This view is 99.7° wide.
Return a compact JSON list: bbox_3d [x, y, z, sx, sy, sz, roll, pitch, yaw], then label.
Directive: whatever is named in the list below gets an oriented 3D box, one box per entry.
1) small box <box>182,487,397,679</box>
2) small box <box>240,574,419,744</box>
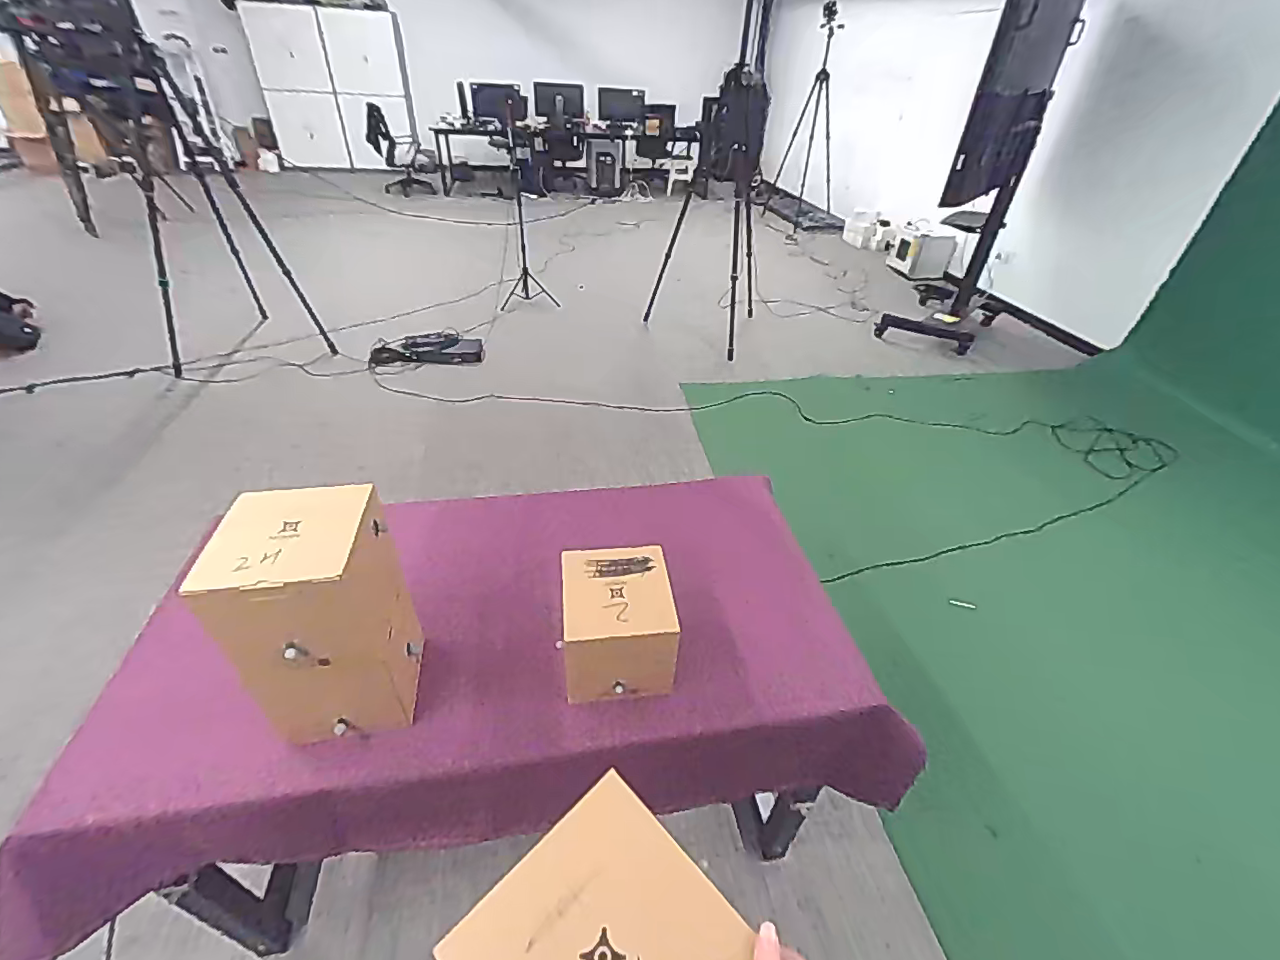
[{"bbox_3d":[-0.430,0.130,0.705,0.168,0.176,0.179,-4,39,-9],"label":"small box"},{"bbox_3d":[-0.438,0.264,0.802,0.179,0.176,0.168,-4,38,-11],"label":"small box"}]
